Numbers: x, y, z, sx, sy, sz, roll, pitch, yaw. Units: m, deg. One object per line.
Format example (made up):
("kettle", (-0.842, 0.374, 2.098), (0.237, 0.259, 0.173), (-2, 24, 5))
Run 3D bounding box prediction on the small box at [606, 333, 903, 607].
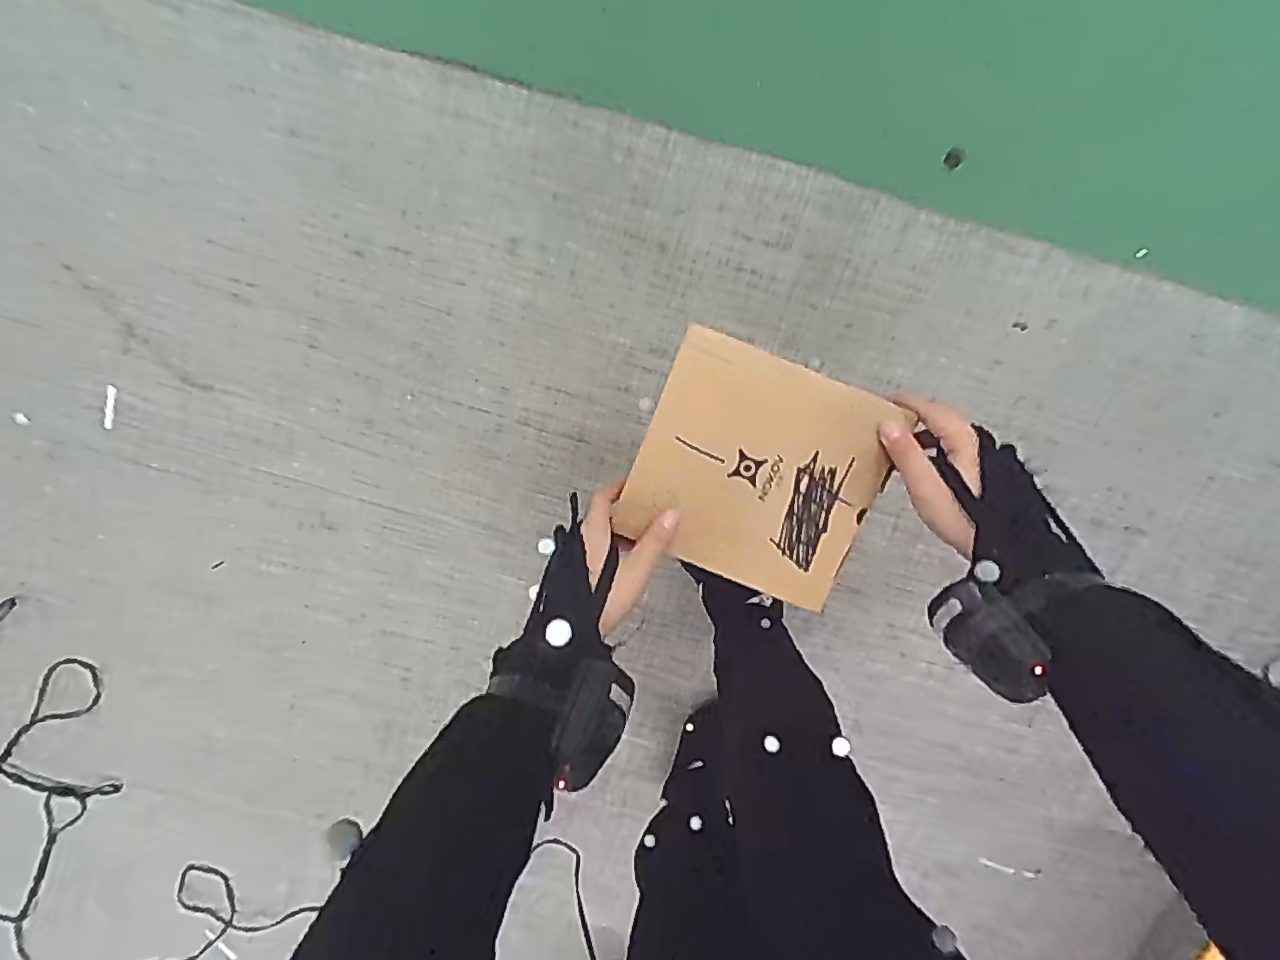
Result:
("small box", (0.089, -0.020, 0.486), (0.179, 0.176, 0.168), (23, 102, 0))
